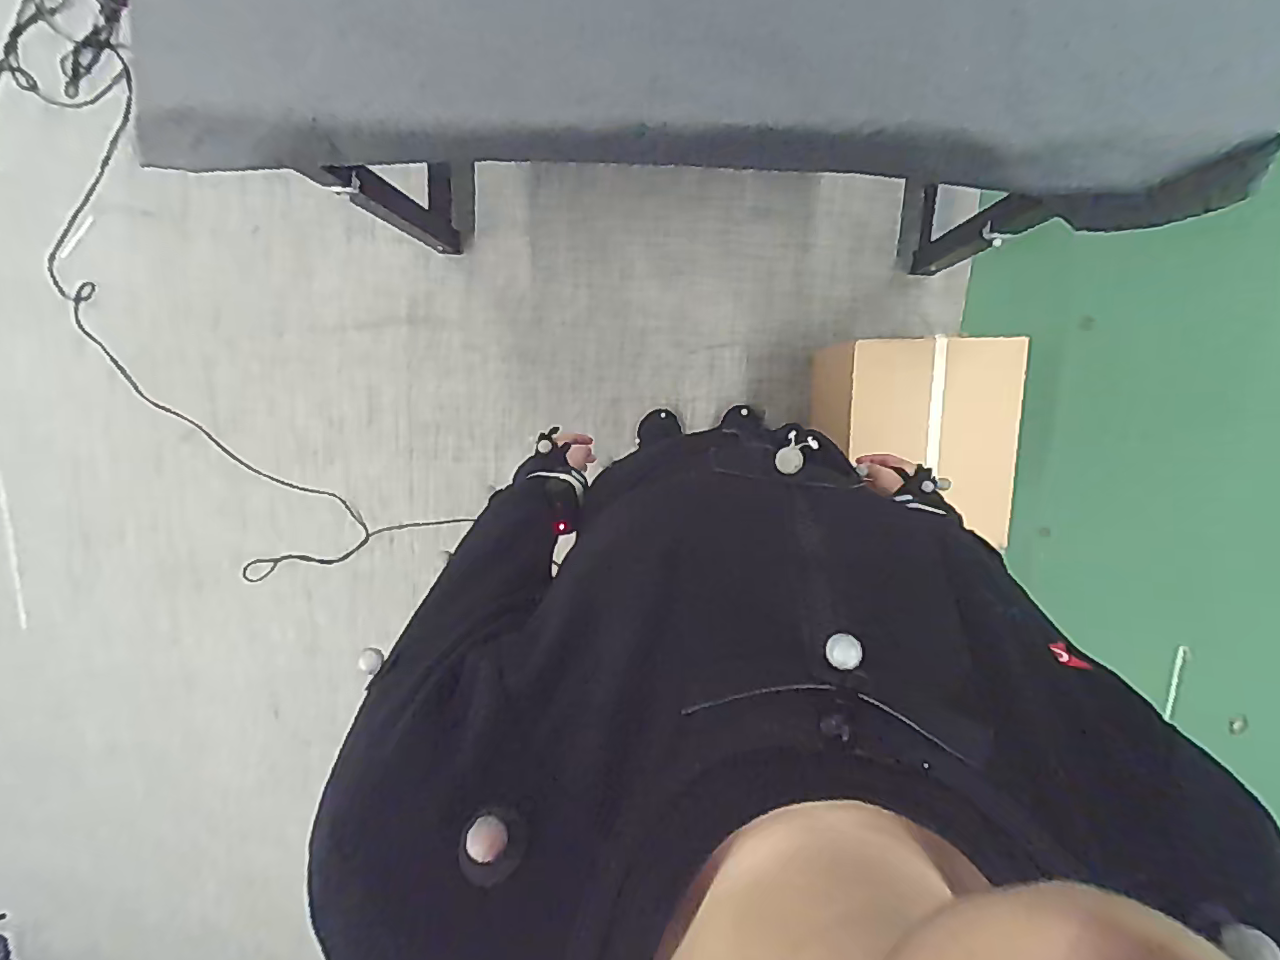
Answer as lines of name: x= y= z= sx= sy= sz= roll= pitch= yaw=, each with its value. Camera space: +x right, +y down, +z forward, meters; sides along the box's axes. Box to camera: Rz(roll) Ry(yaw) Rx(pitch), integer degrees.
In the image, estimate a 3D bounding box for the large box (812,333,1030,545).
large box: x=0.568 y=-0.097 z=1.165 sx=0.320 sy=0.320 sz=0.408 roll=0 pitch=100 yaw=5
